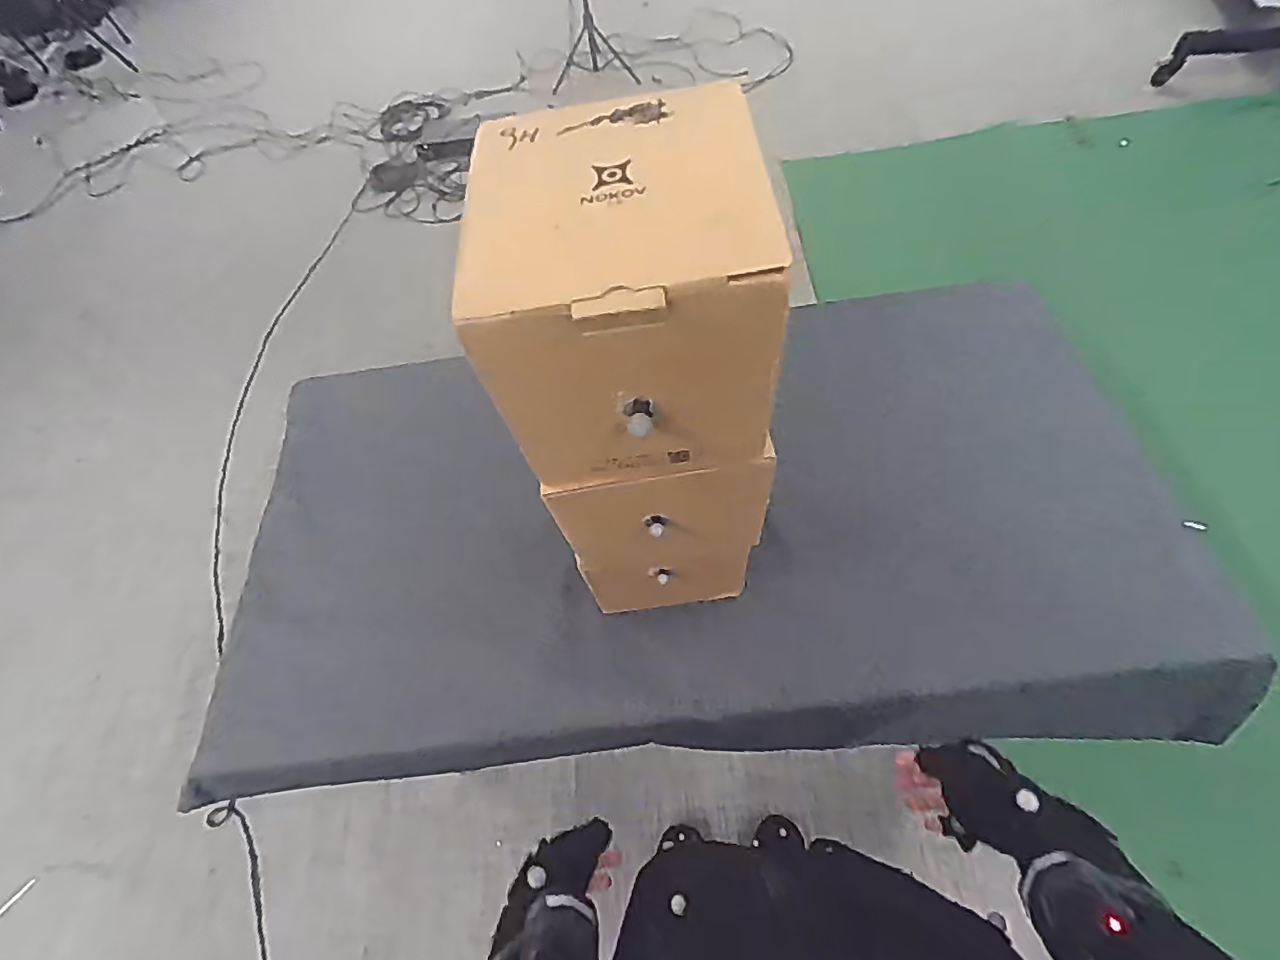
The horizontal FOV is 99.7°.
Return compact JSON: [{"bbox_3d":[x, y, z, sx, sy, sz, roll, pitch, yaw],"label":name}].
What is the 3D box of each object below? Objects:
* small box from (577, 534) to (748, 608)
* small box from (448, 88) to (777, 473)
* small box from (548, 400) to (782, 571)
[{"bbox_3d":[0.024,0.046,0.649,0.179,0.176,0.168,-8,61,2],"label":"small box"},{"bbox_3d":[-0.008,-0.116,0.366,0.168,0.176,0.179,-6,62,5],"label":"small box"},{"bbox_3d":[0.014,-0.030,0.503,0.179,0.176,0.168,-11,61,0],"label":"small box"}]
